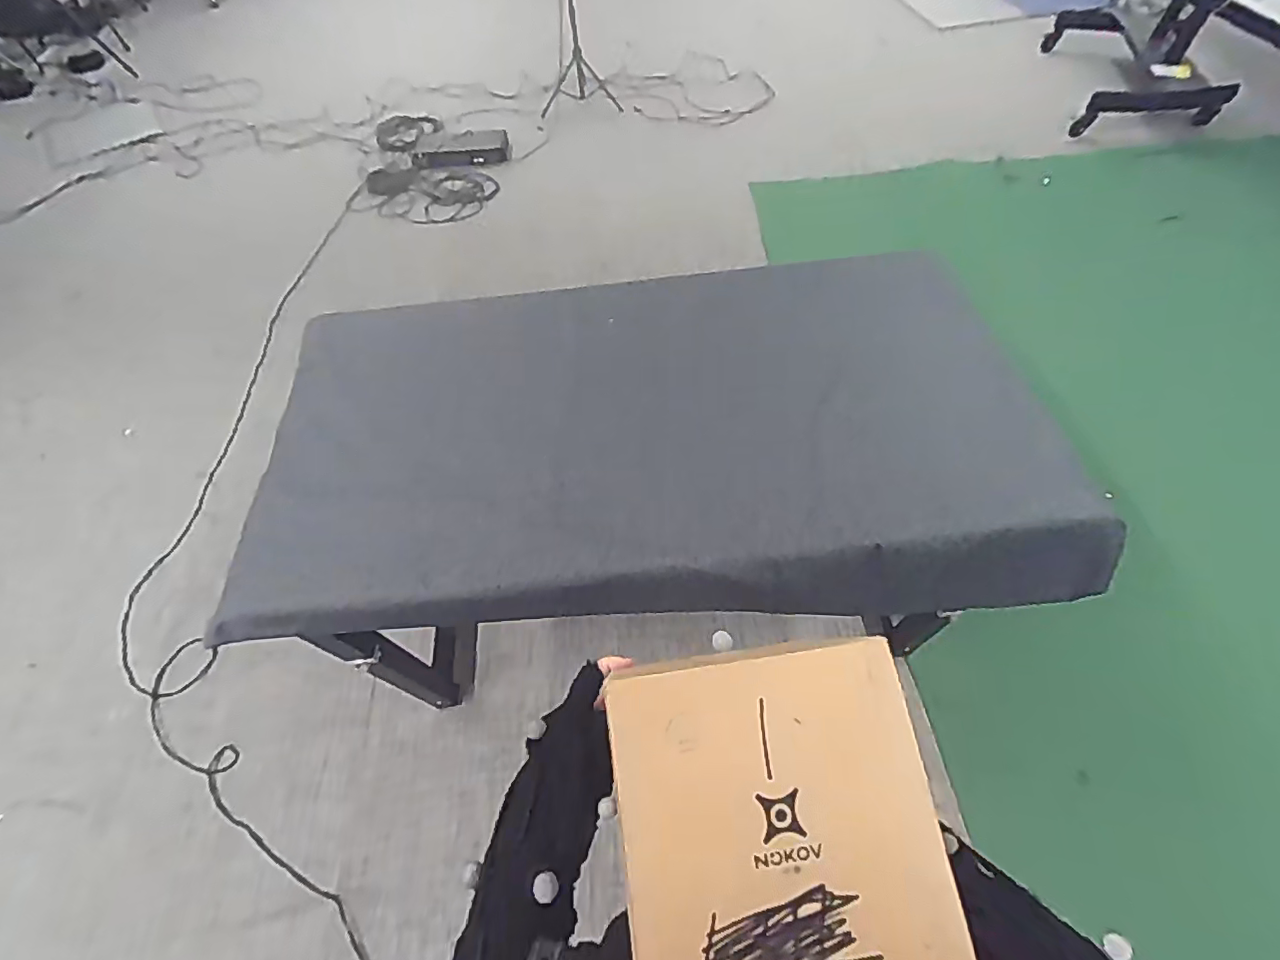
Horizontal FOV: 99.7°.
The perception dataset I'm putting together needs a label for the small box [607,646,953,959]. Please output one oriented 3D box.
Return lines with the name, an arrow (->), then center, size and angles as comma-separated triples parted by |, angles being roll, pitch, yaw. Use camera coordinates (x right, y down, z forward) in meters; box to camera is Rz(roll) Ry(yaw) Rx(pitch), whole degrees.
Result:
small box -> 0.070, 0.210, 0.366 | 0.168, 0.176, 0.179 | -6, 72, -3
